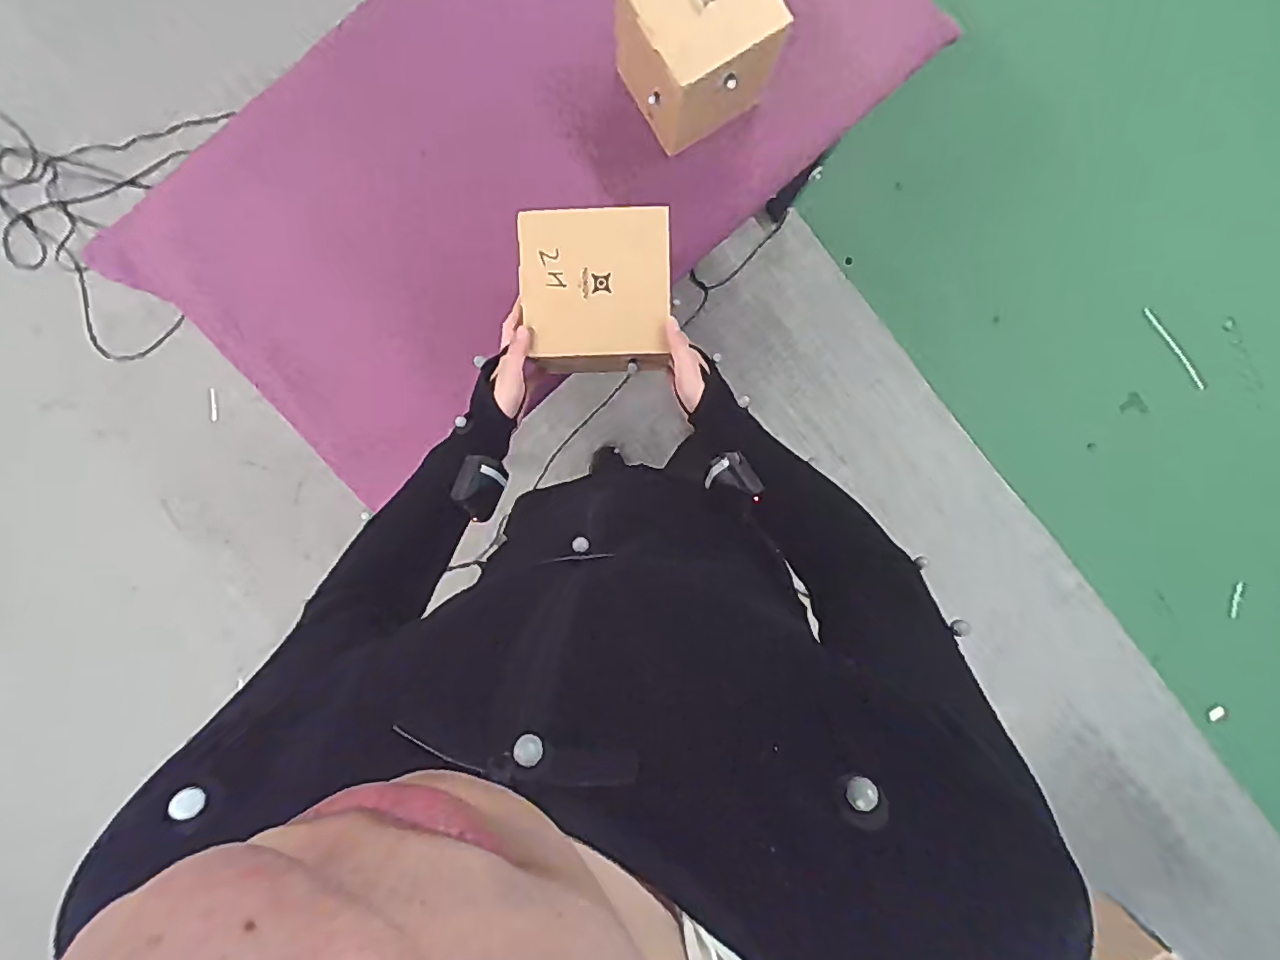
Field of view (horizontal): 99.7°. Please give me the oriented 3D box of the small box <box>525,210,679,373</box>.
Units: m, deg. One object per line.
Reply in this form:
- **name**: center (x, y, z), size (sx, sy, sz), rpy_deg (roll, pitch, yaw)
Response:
- **small box**: center (-0.041, -0.231, 0.696), size (0.179, 0.176, 0.168), rpy_deg (-1, 95, 2)

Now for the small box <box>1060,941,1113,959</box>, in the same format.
- **small box**: center (1.090, 1.242, 1.258), size (0.179, 0.176, 0.168), rpy_deg (-36, 96, 0)

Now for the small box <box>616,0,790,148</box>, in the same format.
- **small box**: center (0.079, -0.623, 0.771), size (0.179, 0.176, 0.168), rpy_deg (-31, 94, 0)
